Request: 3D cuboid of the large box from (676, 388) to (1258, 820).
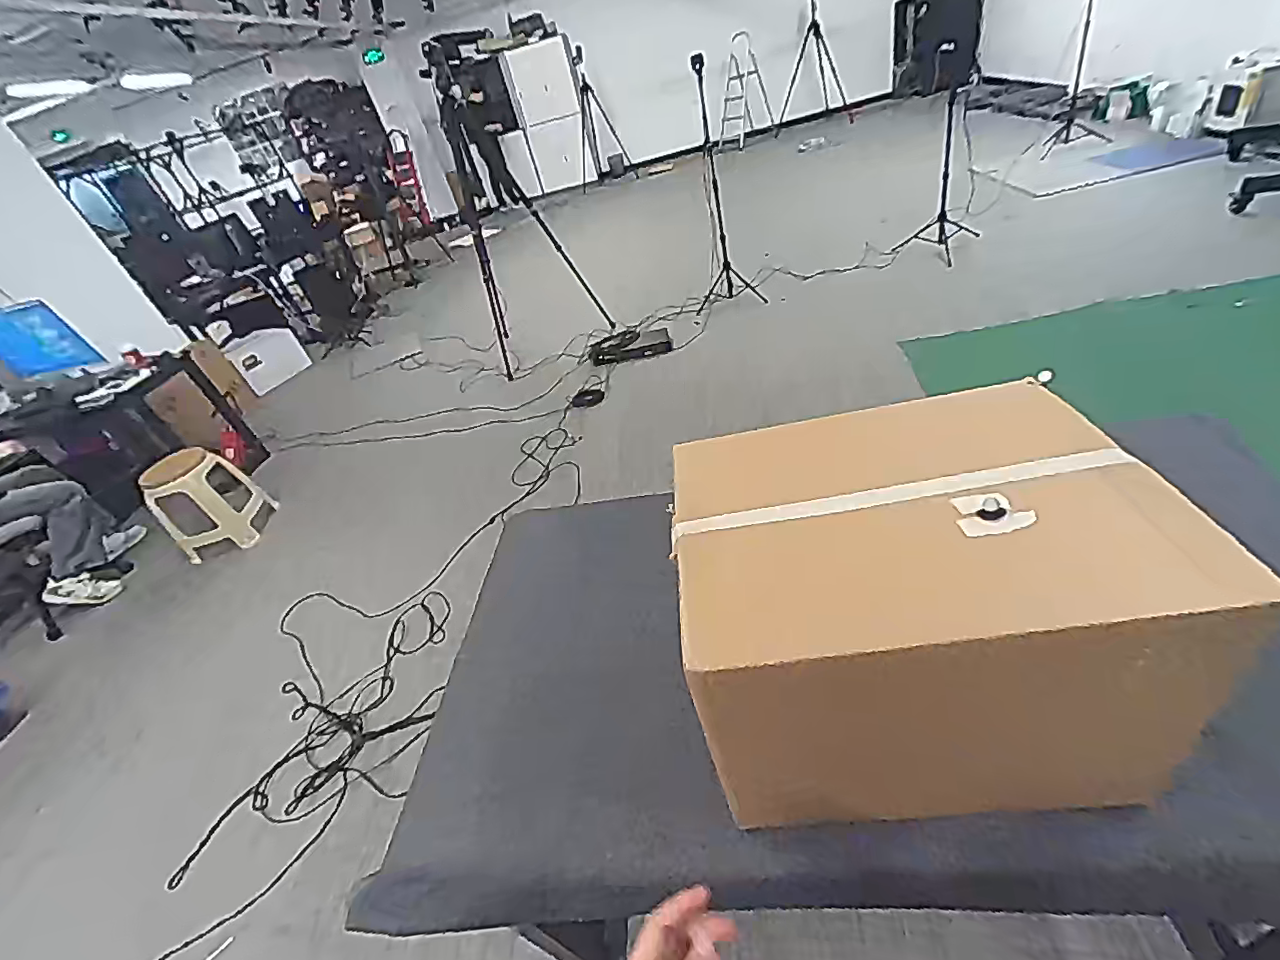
[{"bbox_3d":[0.268,0.137,0.602,0.408,0.320,0.320,-10,37,8],"label":"large box"}]
